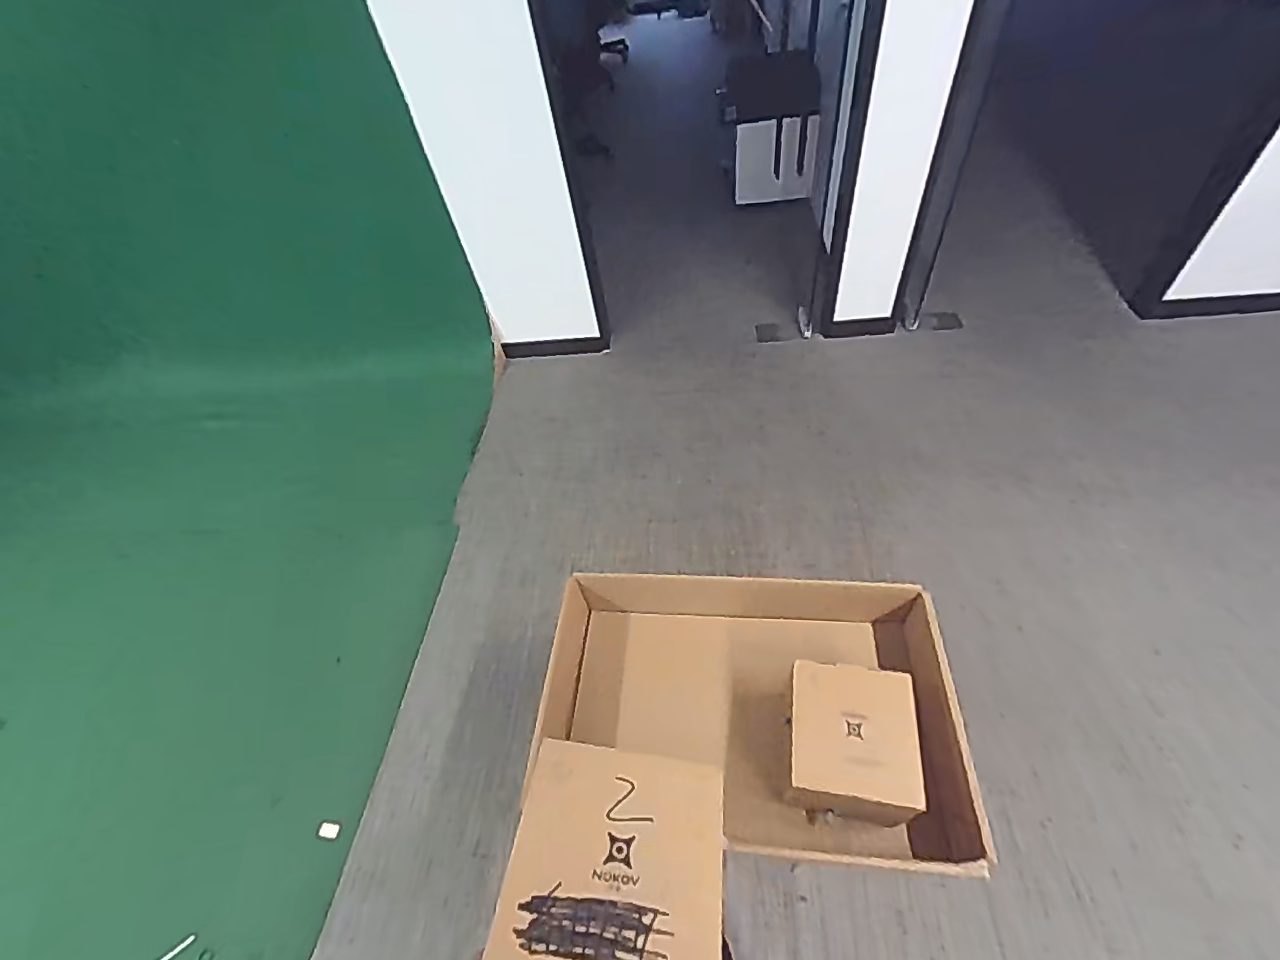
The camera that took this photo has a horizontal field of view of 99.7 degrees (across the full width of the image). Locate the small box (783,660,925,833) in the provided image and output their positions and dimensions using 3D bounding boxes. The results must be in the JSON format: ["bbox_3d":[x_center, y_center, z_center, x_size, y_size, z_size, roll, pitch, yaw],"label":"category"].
[{"bbox_3d":[0.303,0.394,0.800,0.168,0.176,0.179,4,51,14],"label":"small box"}]
